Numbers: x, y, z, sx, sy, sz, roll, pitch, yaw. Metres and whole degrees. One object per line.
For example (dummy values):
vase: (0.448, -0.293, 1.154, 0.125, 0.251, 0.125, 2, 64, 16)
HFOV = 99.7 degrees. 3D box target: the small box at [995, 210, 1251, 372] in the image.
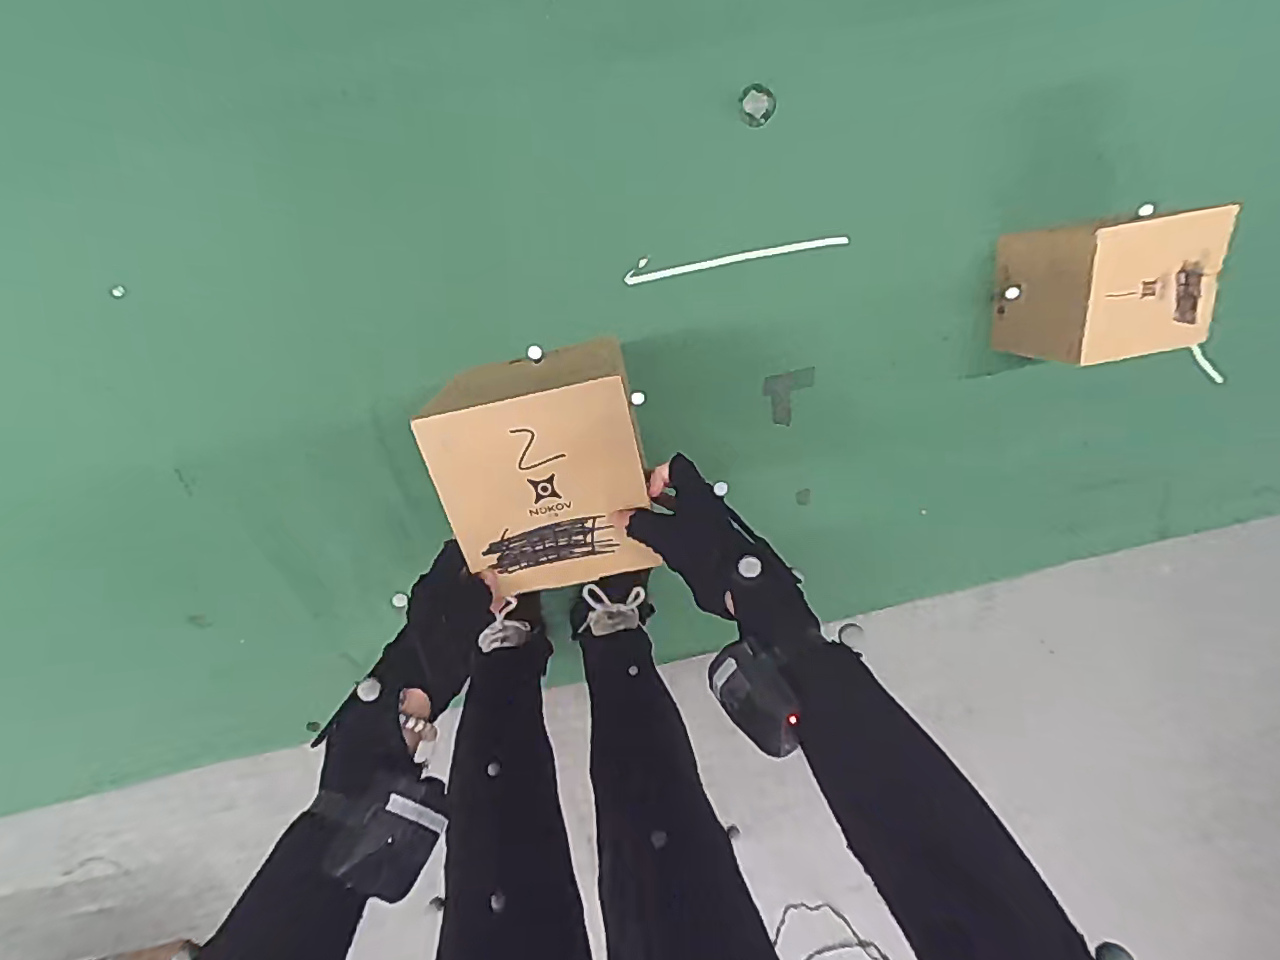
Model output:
small box: (0.622, -0.254, 0.723, 0.179, 0.176, 0.168, -11, 112, -2)
